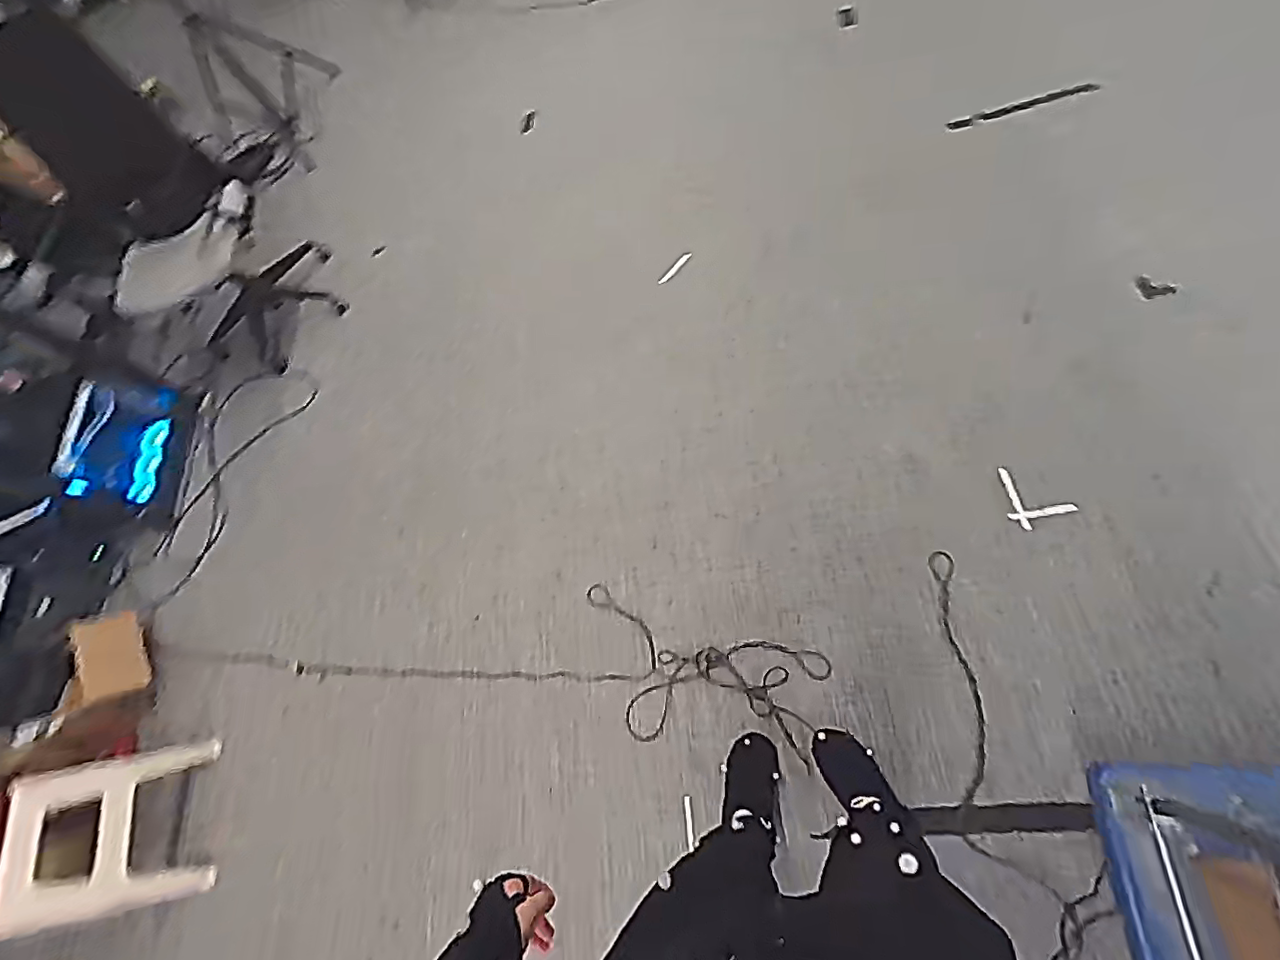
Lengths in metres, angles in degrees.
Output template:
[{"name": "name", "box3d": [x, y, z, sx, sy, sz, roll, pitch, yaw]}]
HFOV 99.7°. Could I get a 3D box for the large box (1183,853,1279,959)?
[{"name": "large box", "box3d": [0.990, 0.704, 0.630, 0.320, 0.320, 0.408, -11, 67, 14]}]
